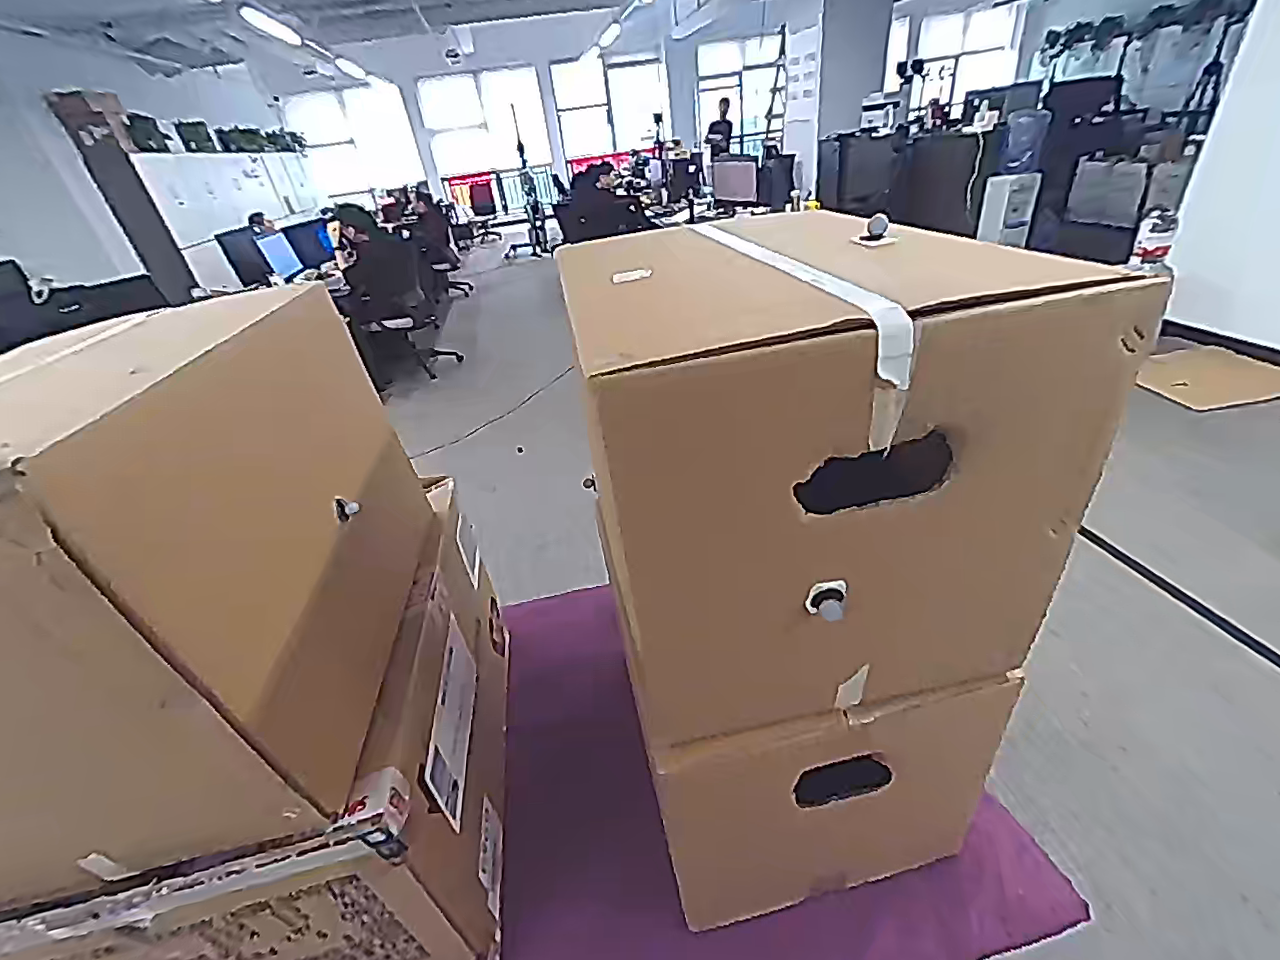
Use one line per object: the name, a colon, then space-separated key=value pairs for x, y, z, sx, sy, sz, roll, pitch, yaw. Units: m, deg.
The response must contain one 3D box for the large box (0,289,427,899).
large box: x=-0.422 y=0.056 z=0.485 sx=0.320 sy=0.320 sz=0.408 roll=-15 pitch=33 yaw=-2
